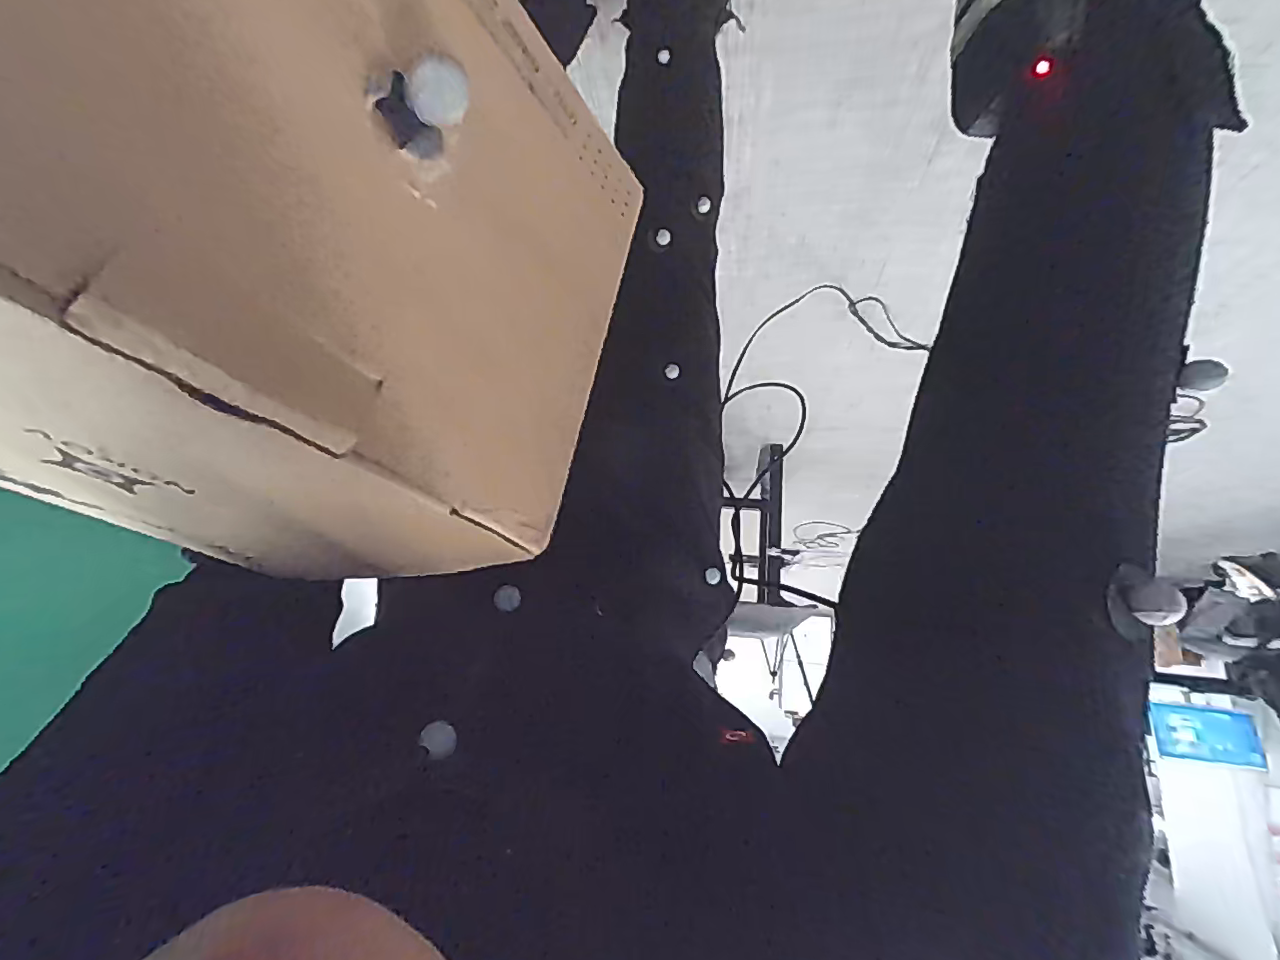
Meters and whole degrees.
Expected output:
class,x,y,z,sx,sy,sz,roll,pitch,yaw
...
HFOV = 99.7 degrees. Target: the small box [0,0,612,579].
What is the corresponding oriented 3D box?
class,x,y,z,sx,sy,sz,roll,pitch,yaw
small box,-0.124,-0.076,0.183,0.179,0.176,0.168,-10,147,35
